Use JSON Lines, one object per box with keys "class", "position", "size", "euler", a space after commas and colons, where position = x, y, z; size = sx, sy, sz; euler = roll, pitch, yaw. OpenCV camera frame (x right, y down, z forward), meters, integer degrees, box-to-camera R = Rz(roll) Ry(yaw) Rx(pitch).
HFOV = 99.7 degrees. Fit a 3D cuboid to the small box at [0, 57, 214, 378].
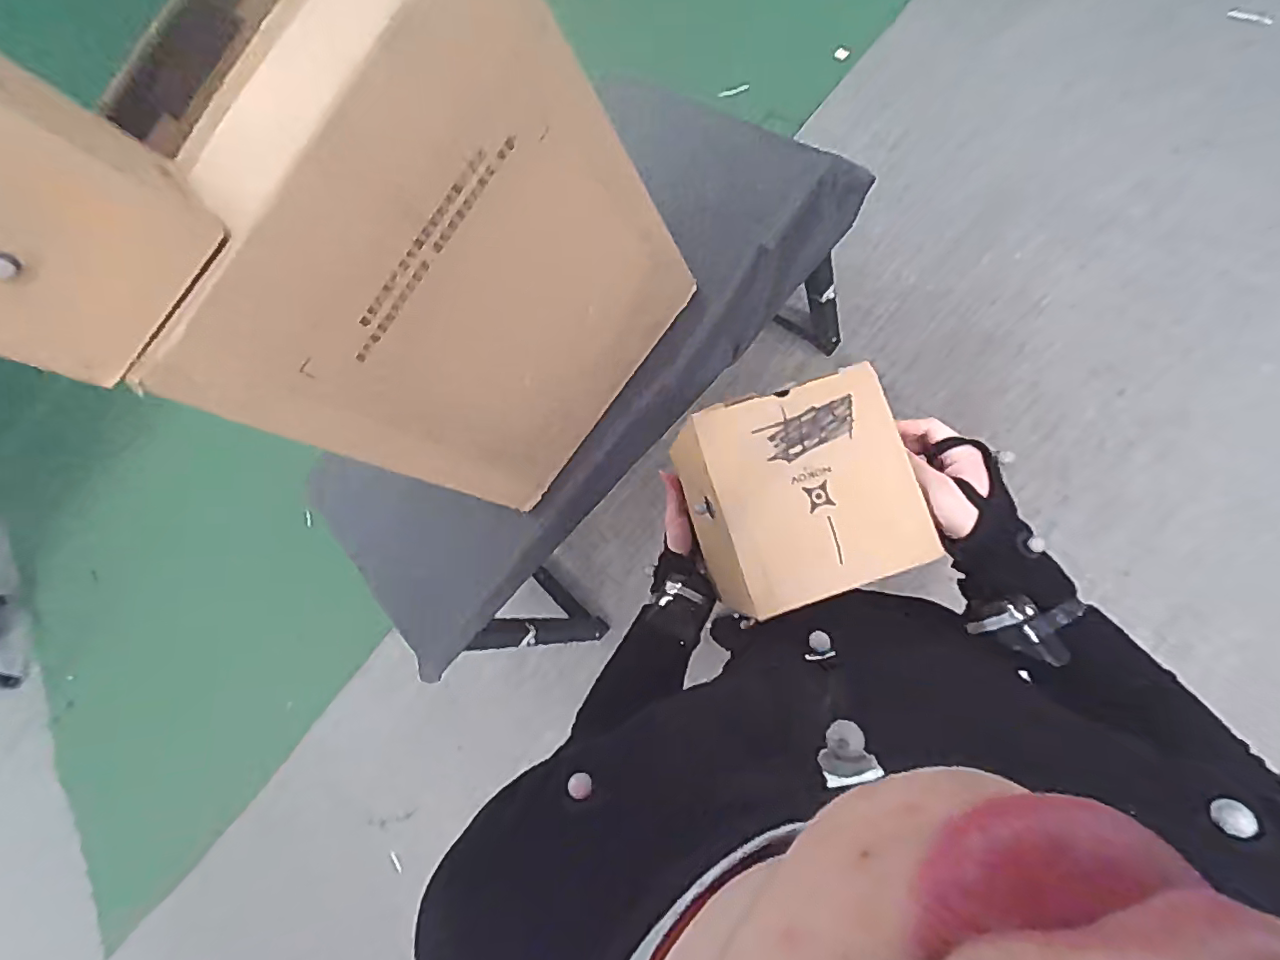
{"class": "small box", "position": [-0.495, -0.211, 0.431], "size": [0.168, 0.176, 0.179], "euler": [44, 97, 23]}
